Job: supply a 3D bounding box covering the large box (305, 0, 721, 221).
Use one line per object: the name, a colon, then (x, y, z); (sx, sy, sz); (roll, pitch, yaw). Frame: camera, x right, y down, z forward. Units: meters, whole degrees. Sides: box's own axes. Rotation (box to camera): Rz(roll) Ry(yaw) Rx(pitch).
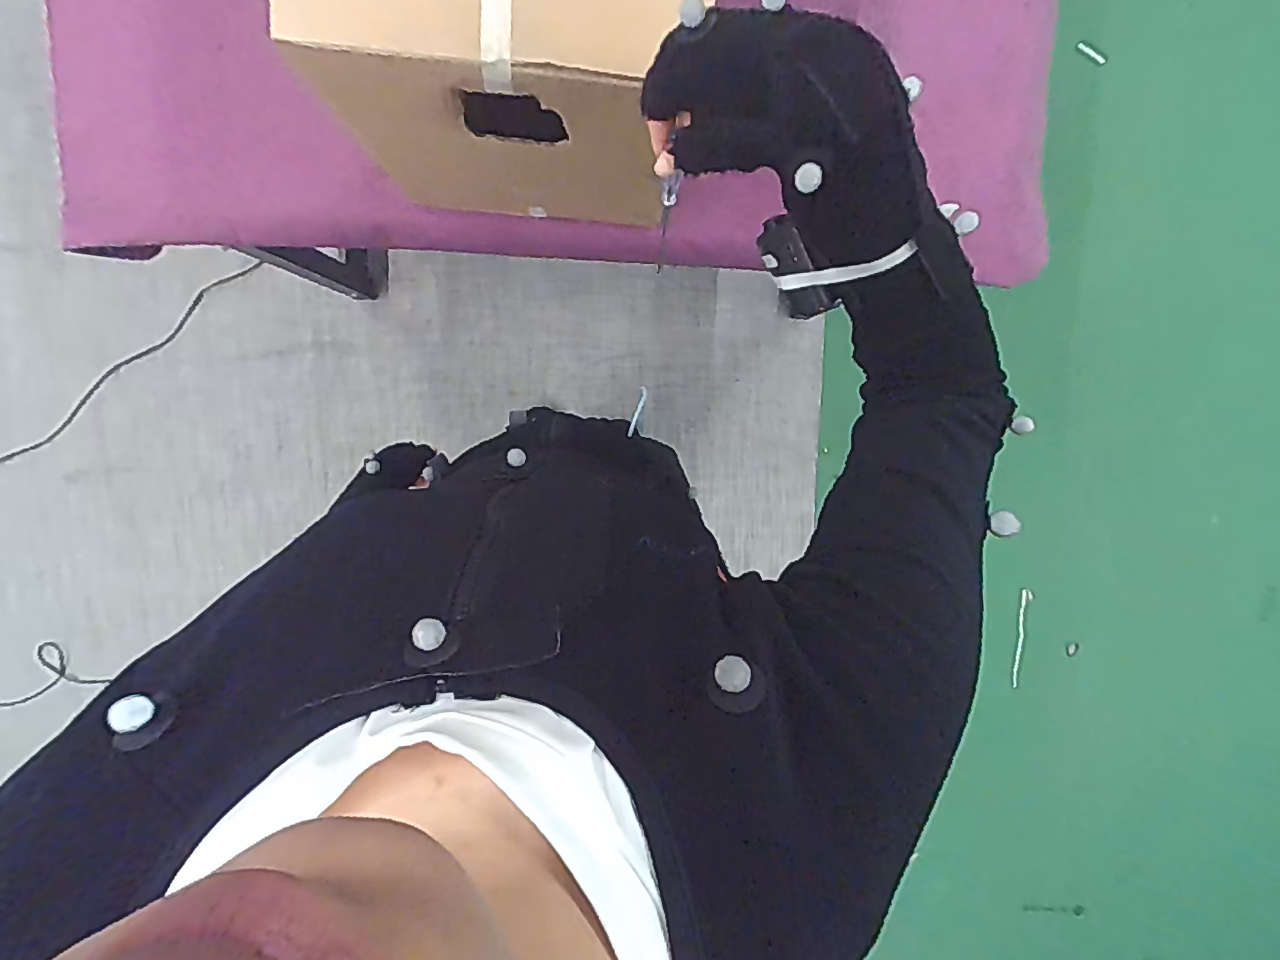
large box: (-0.096, -0.525, 0.529); (0.320, 0.320, 0.408); (4, 98, -5)
